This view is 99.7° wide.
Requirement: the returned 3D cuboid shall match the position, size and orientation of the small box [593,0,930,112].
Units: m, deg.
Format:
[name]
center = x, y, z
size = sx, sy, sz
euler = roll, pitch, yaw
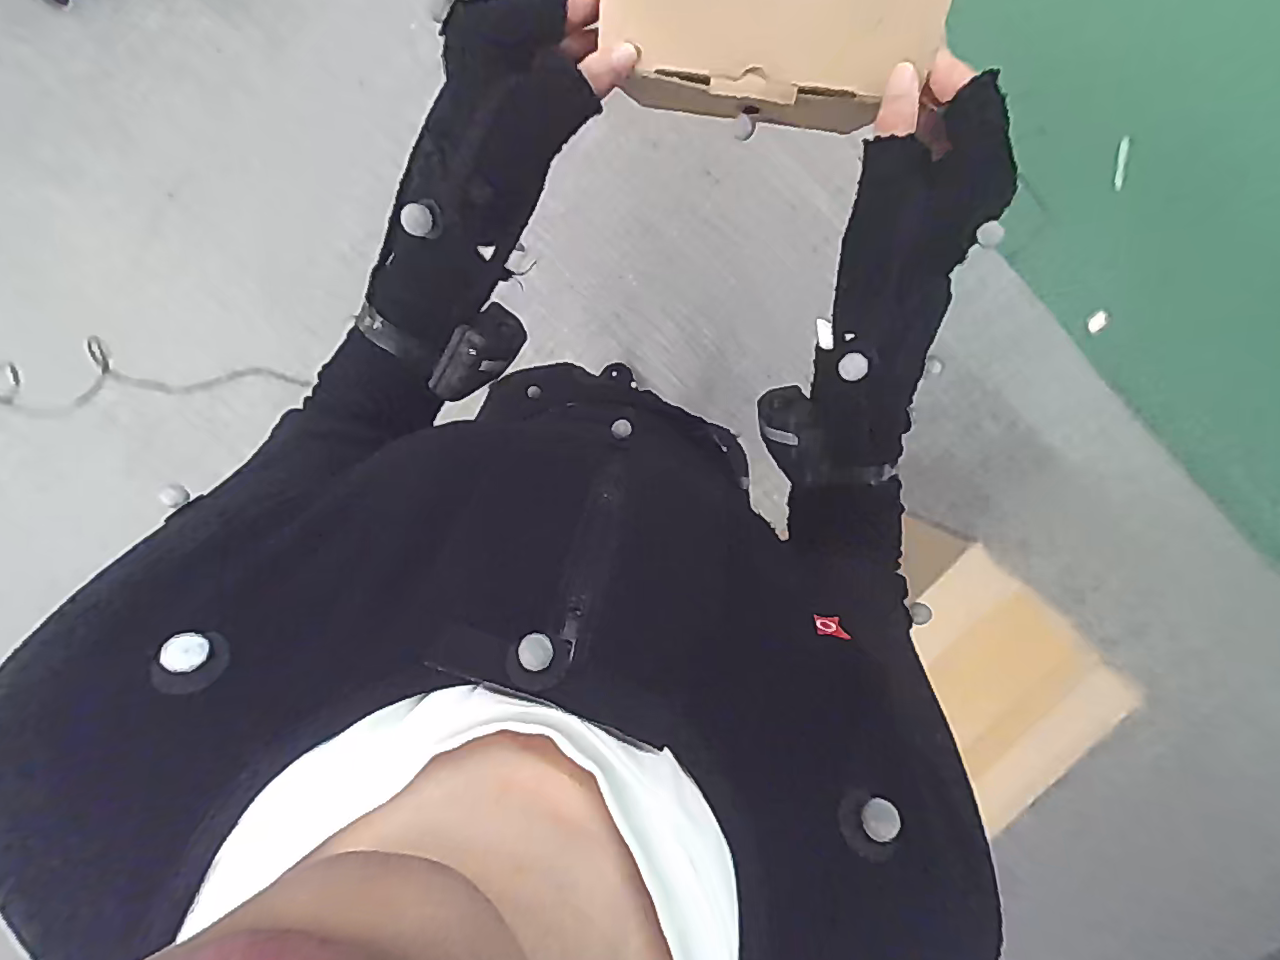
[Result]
[small box]
center = 0.075, -0.322, 0.304
size = 0.168, 0.176, 0.179
euler = 9, 121, 4
